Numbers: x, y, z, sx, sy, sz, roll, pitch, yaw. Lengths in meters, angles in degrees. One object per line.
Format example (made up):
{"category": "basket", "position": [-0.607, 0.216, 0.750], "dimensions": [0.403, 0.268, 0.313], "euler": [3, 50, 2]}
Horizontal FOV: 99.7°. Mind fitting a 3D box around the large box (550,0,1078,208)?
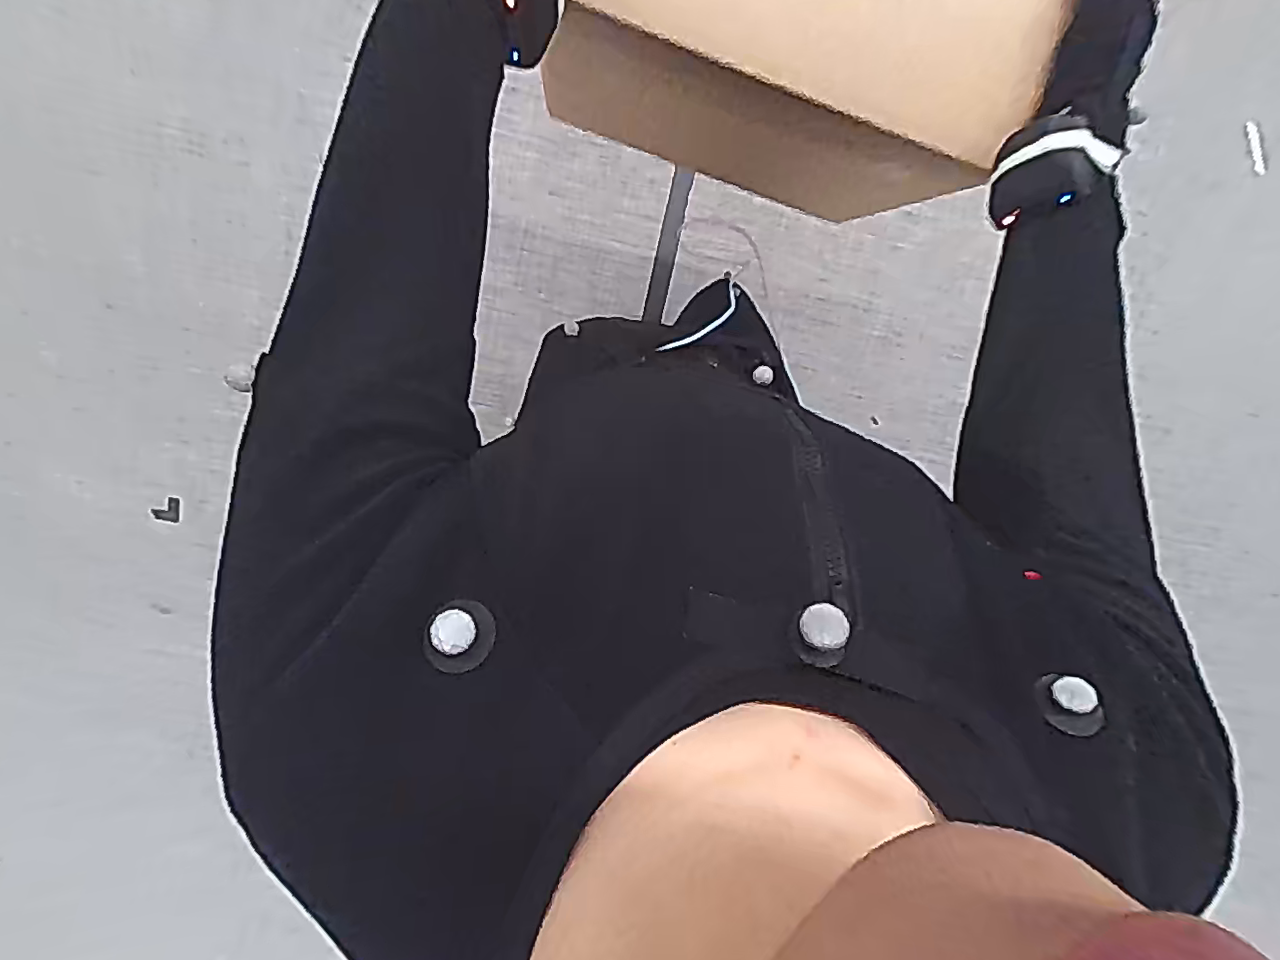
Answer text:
{"category": "large box", "position": [0.144, -0.502, 0.513], "dimensions": [0.408, 0.320, 0.320], "euler": [14, 108, -12]}
